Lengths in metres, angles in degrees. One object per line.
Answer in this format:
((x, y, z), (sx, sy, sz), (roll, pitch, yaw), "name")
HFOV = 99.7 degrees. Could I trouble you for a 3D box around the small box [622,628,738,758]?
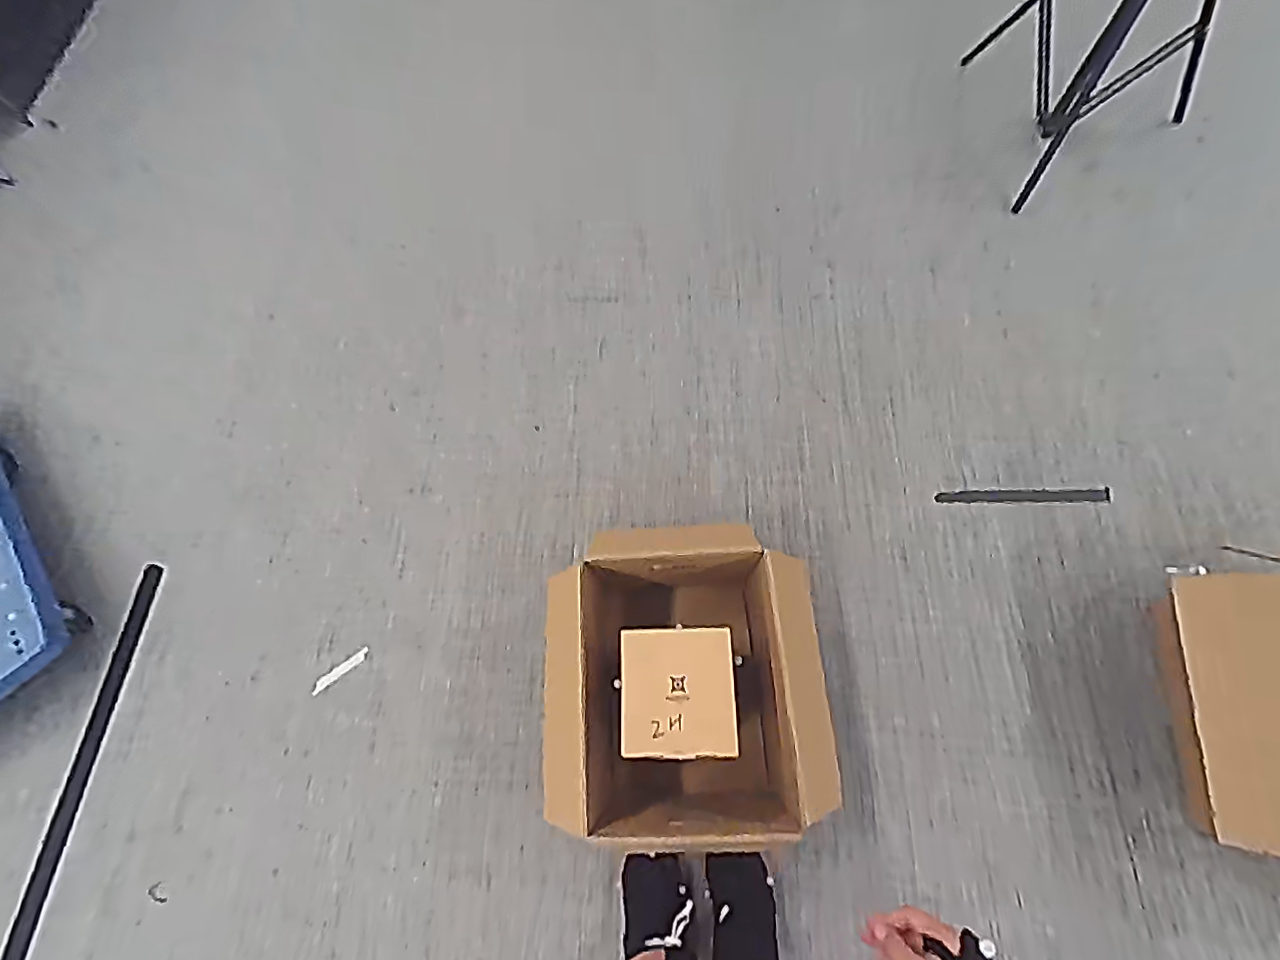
((0.061, 0.335, 0.858), (0.168, 0.176, 0.179), (-3, 70, 4), "small box")
